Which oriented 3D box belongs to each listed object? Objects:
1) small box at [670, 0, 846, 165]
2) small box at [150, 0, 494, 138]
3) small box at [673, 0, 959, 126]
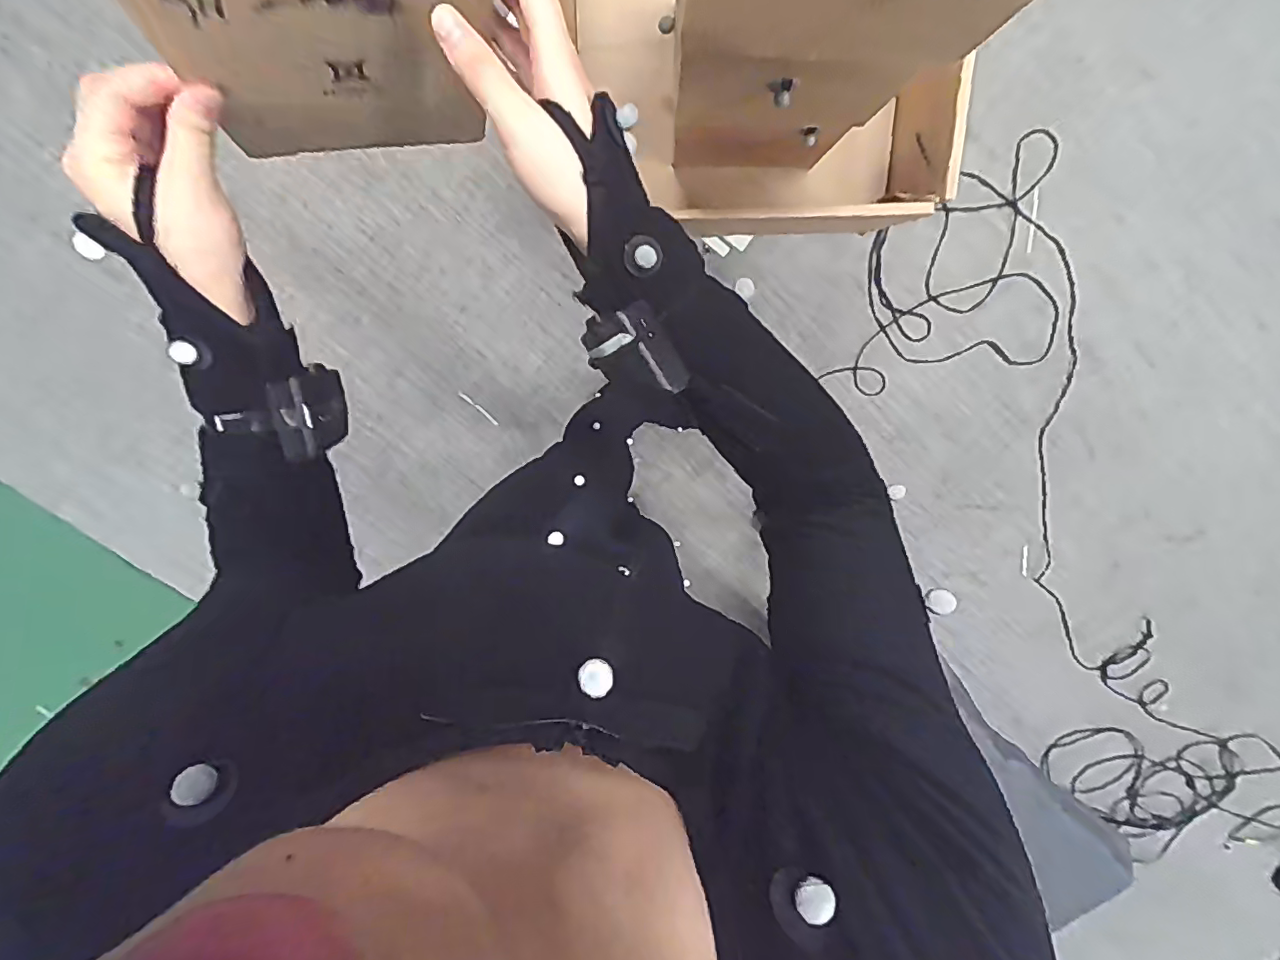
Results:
[{"bbox_3d":[0.120,-0.438,0.556,0.179,0.176,0.168,0,106,1],"label":"small box"},{"bbox_3d":[-0.185,-0.330,0.310,0.168,0.179,0.176,-13,98,-15],"label":"small box"},{"bbox_3d":[0.117,-0.385,0.400,0.179,0.176,0.168,1,105,2],"label":"small box"}]
